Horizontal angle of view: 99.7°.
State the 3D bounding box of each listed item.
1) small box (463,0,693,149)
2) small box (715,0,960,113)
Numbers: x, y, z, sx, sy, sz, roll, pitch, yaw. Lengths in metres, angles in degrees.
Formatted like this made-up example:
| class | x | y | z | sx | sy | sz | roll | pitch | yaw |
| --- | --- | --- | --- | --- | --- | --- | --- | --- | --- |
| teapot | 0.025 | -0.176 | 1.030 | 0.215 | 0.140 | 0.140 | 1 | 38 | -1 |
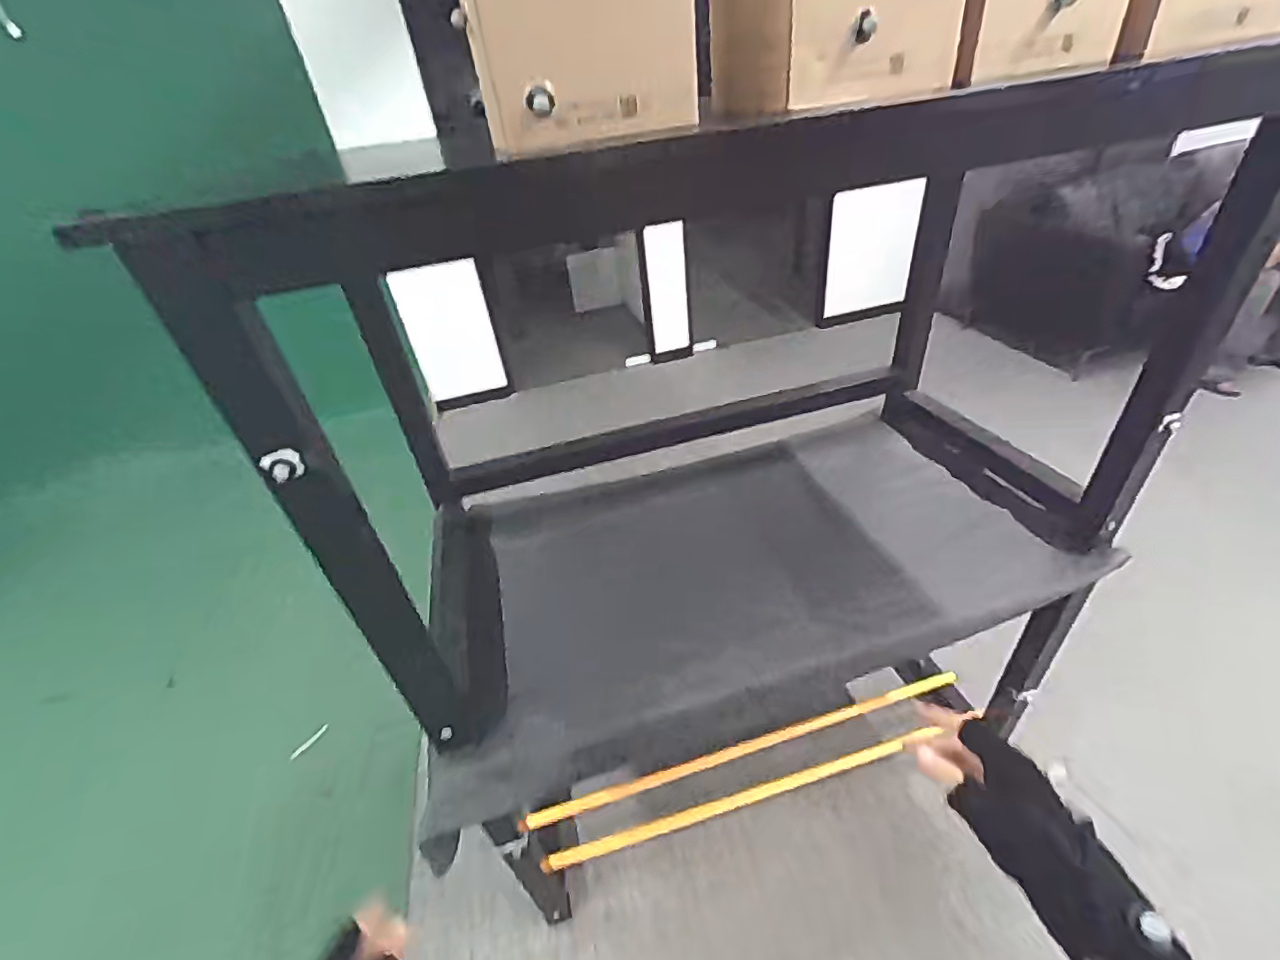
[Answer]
| class | x | y | z | sx | sy | sz | roll | pitch | yaw |
| --- | --- | --- | --- | --- | --- | --- | --- | --- | --- |
| small box | -0.060 | -0.396 | 0.468 | 0.168 | 0.176 | 0.179 | -15 | 35 | -9 |
| small box | 0.174 | -0.451 | 0.505 | 0.168 | 0.176 | 0.179 | -14 | 36 | -10 |
